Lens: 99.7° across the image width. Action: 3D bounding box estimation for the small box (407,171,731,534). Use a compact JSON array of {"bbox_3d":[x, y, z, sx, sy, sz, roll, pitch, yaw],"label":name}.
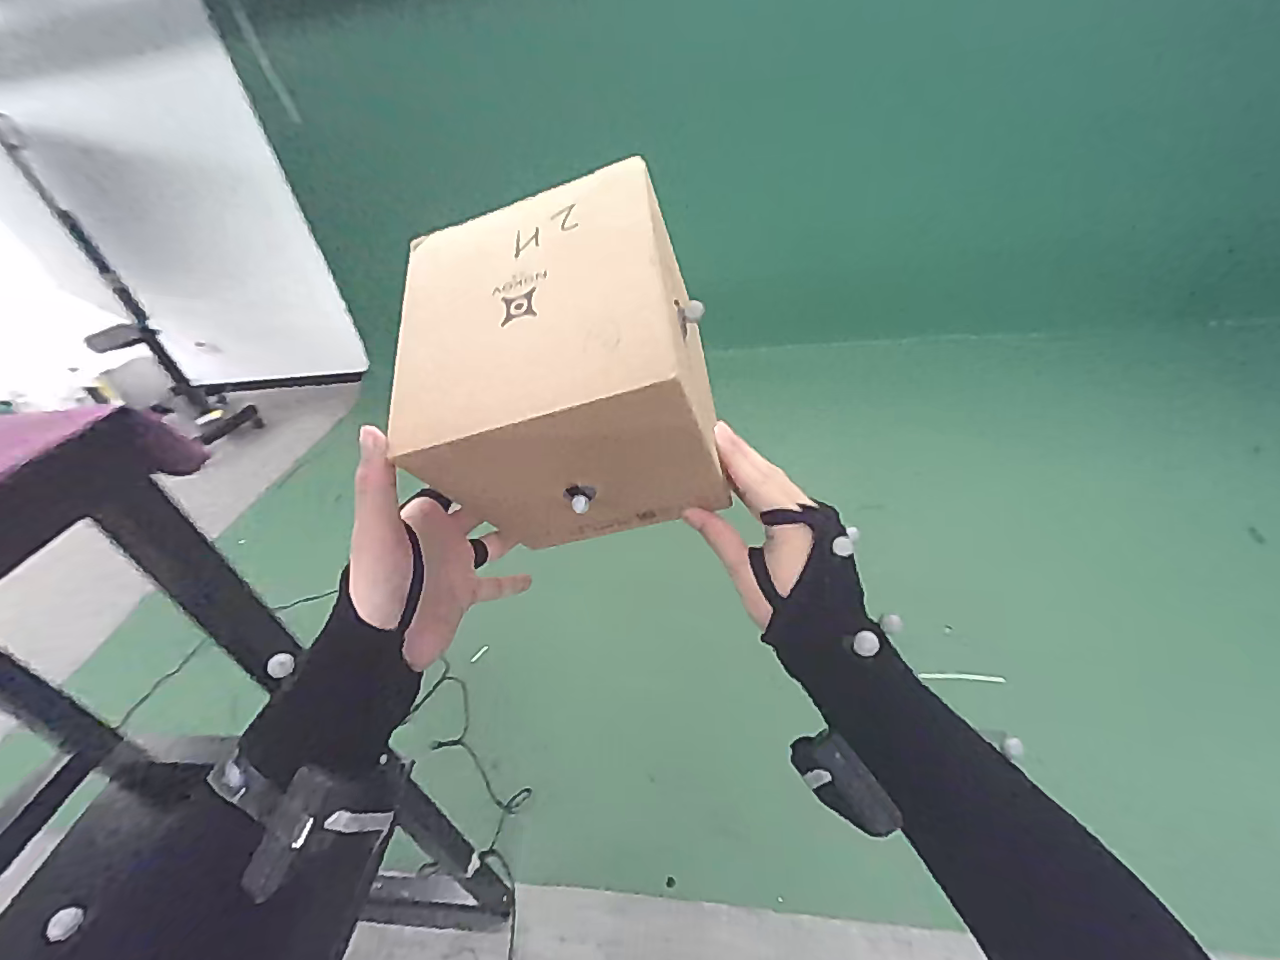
[{"bbox_3d":[-0.037,-0.070,0.393,0.168,0.176,0.179,-13,61,14],"label":"small box"}]
